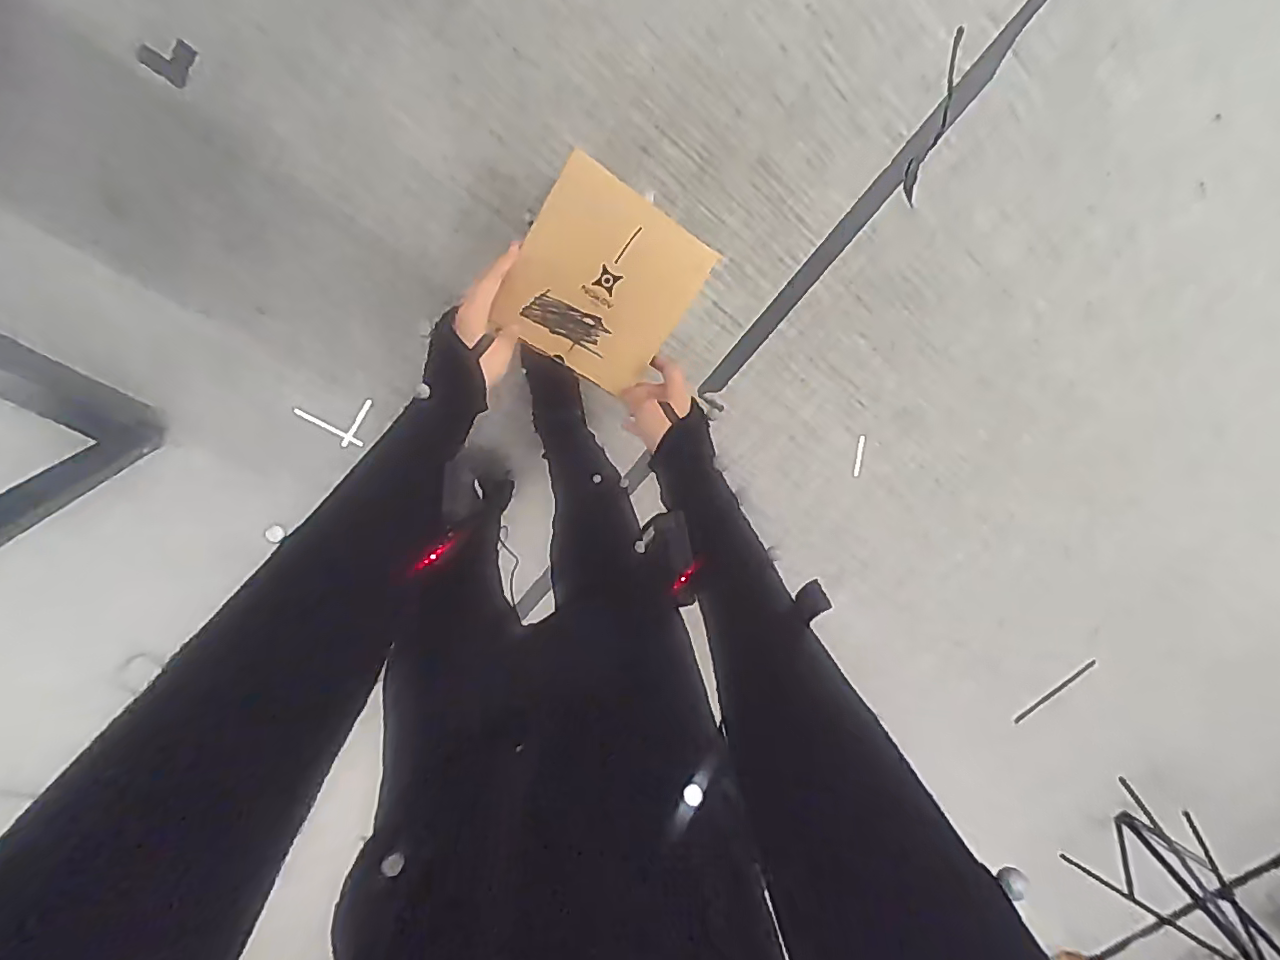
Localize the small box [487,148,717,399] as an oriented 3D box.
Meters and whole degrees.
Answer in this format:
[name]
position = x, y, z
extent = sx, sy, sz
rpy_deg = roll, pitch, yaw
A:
[small box]
position = -0.044, -0.224, 0.594
extent = 0.168, 0.176, 0.179
rpy_deg = 28, 110, -20
